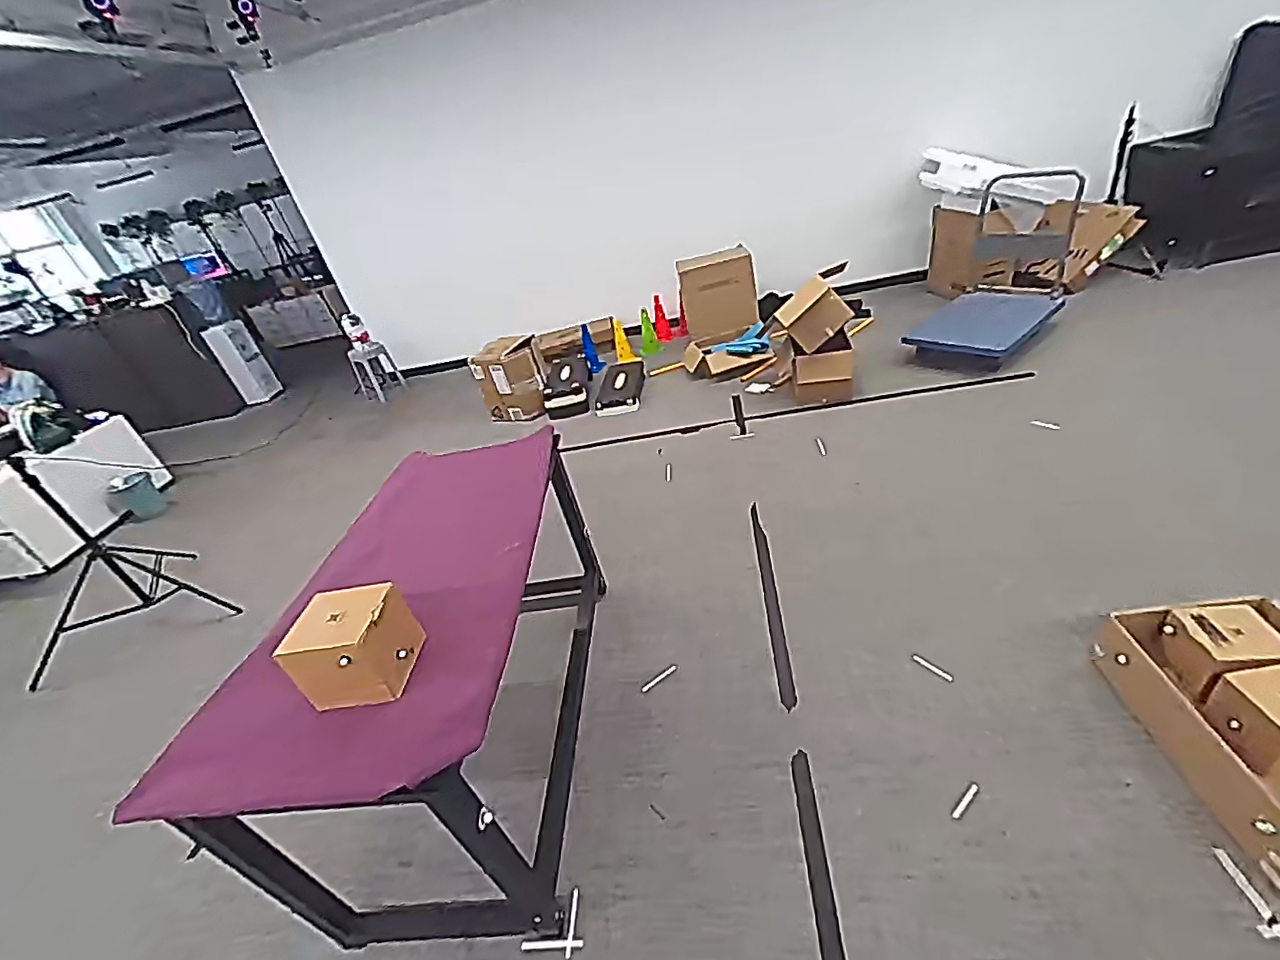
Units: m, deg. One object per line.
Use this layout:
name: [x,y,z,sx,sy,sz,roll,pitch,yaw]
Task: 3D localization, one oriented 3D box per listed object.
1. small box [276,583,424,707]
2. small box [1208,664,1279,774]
small box: [-0.573,0.336,1.094,0.179,0.176,0.168,-10,31,6]
small box: [1.482,0.552,1.249,0.179,0.176,0.168,-11,33,5]
